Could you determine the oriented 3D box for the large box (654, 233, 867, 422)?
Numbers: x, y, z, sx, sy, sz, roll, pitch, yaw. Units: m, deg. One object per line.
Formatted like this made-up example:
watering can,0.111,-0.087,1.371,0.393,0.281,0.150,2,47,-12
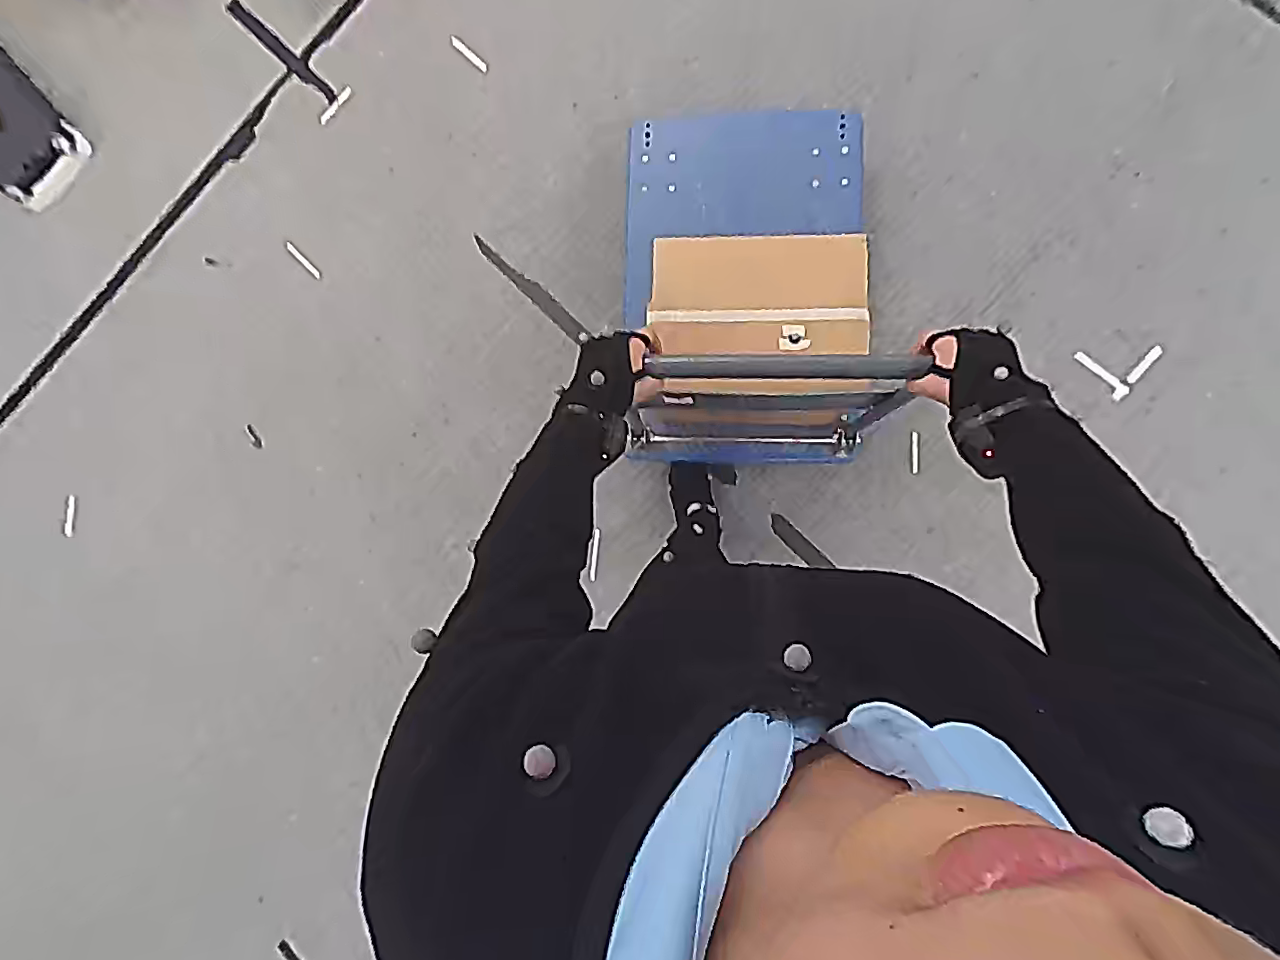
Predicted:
large box,0.235,-0.306,1.177,0.408,0.320,0.320,1,87,4
